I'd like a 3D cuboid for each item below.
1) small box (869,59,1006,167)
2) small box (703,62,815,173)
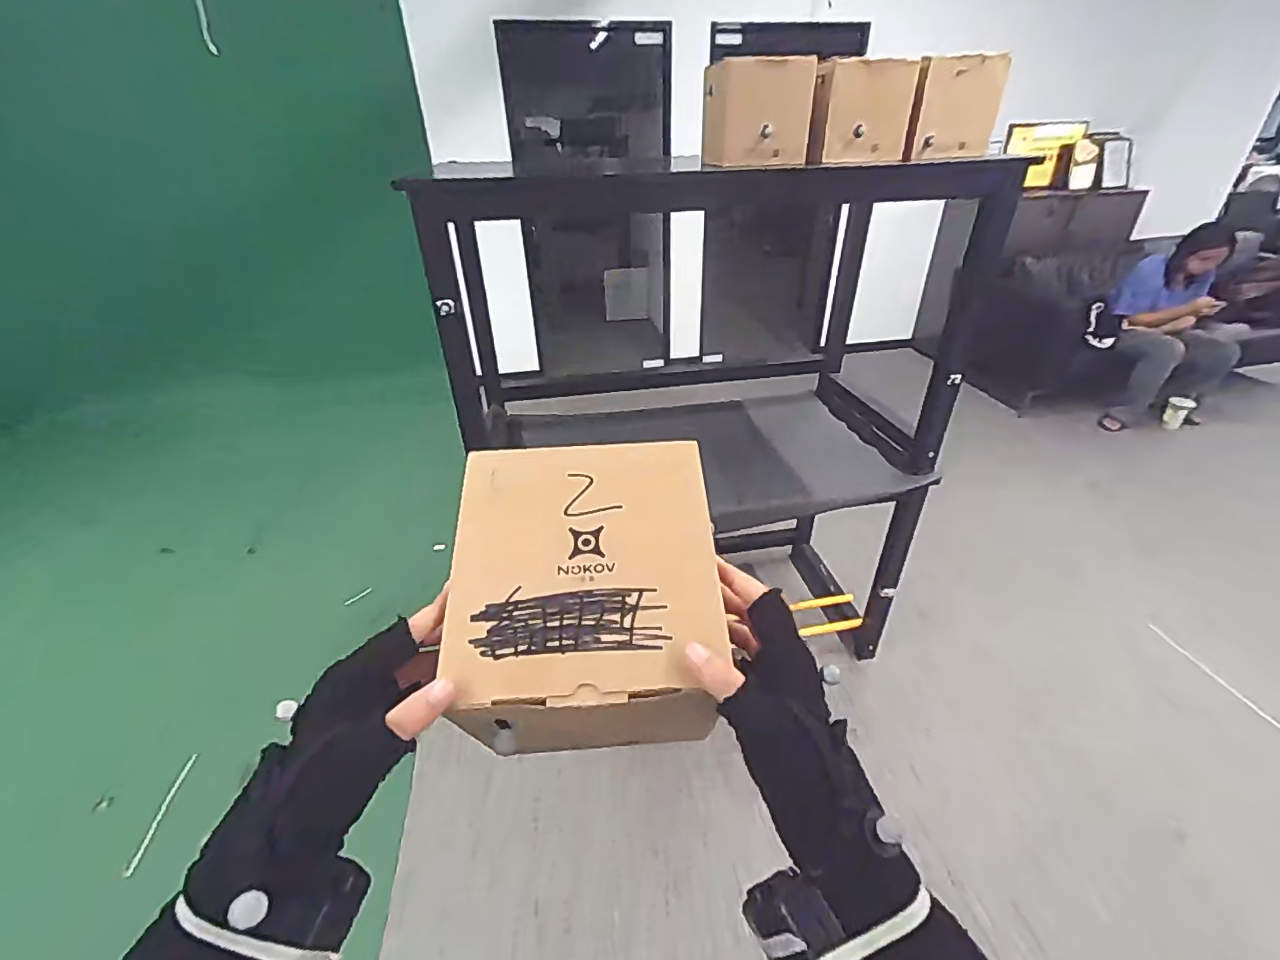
[{"bbox_3d":[0.600,-0.750,1.116,0.168,0.176,0.179,-5,31,-5],"label":"small box"},{"bbox_3d":[0.223,-0.710,1.071,0.168,0.176,0.179,-5,32,-6],"label":"small box"}]
